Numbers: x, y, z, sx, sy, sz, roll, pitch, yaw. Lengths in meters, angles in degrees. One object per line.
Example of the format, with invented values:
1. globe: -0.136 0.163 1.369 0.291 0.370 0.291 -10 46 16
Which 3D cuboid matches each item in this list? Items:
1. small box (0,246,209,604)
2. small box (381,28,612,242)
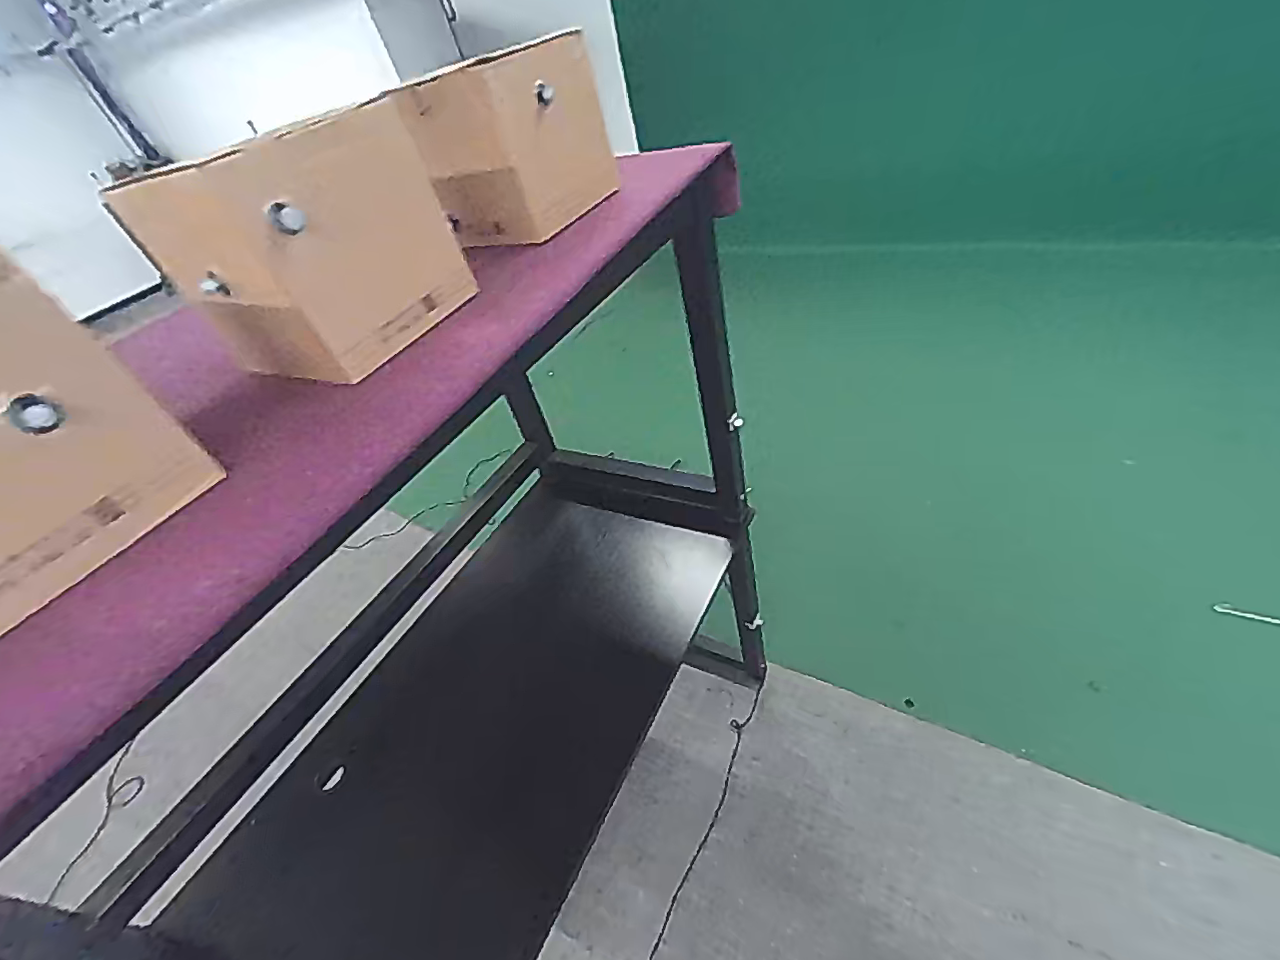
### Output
1. small box: -0.416 -0.030 0.321 0.179 0.176 0.168 13 48 31
2. small box: -0.153 -0.395 0.641 0.168 0.176 0.179 12 48 30
